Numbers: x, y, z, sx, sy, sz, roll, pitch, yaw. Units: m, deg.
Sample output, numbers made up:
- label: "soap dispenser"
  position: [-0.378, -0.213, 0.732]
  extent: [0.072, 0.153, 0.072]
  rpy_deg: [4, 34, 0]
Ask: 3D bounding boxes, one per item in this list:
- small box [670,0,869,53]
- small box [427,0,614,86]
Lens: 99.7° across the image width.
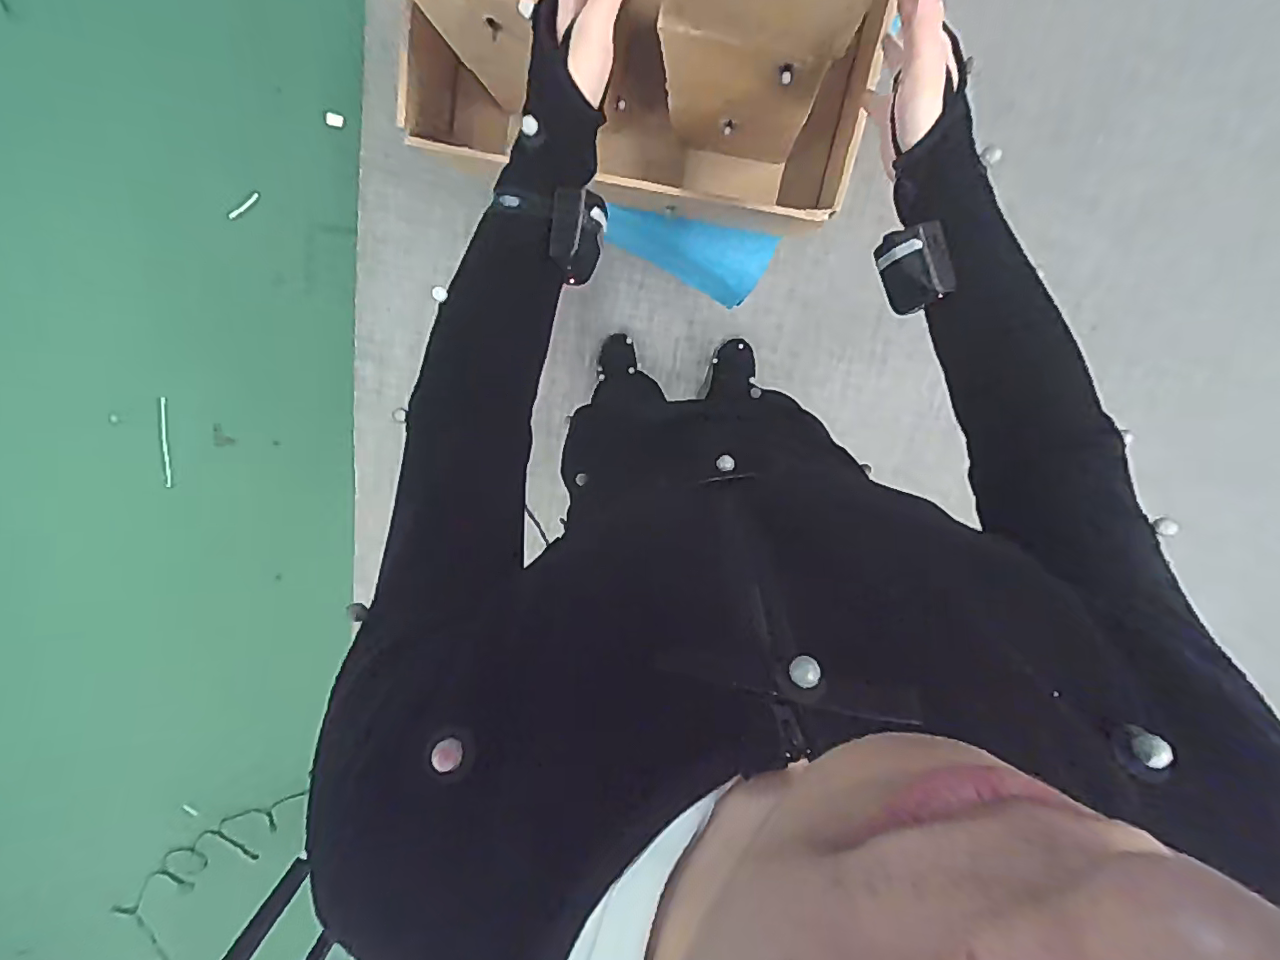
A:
- label: "small box"
  position: [0.117, -0.473, 0.416]
  extent: [0.179, 0.176, 0.168]
  rpy_deg: [14, 106, 3]
- label: "small box"
  position: [-0.125, -0.562, 0.583]
  extent: [0.179, 0.176, 0.168]
  rpy_deg: [11, 106, 1]
